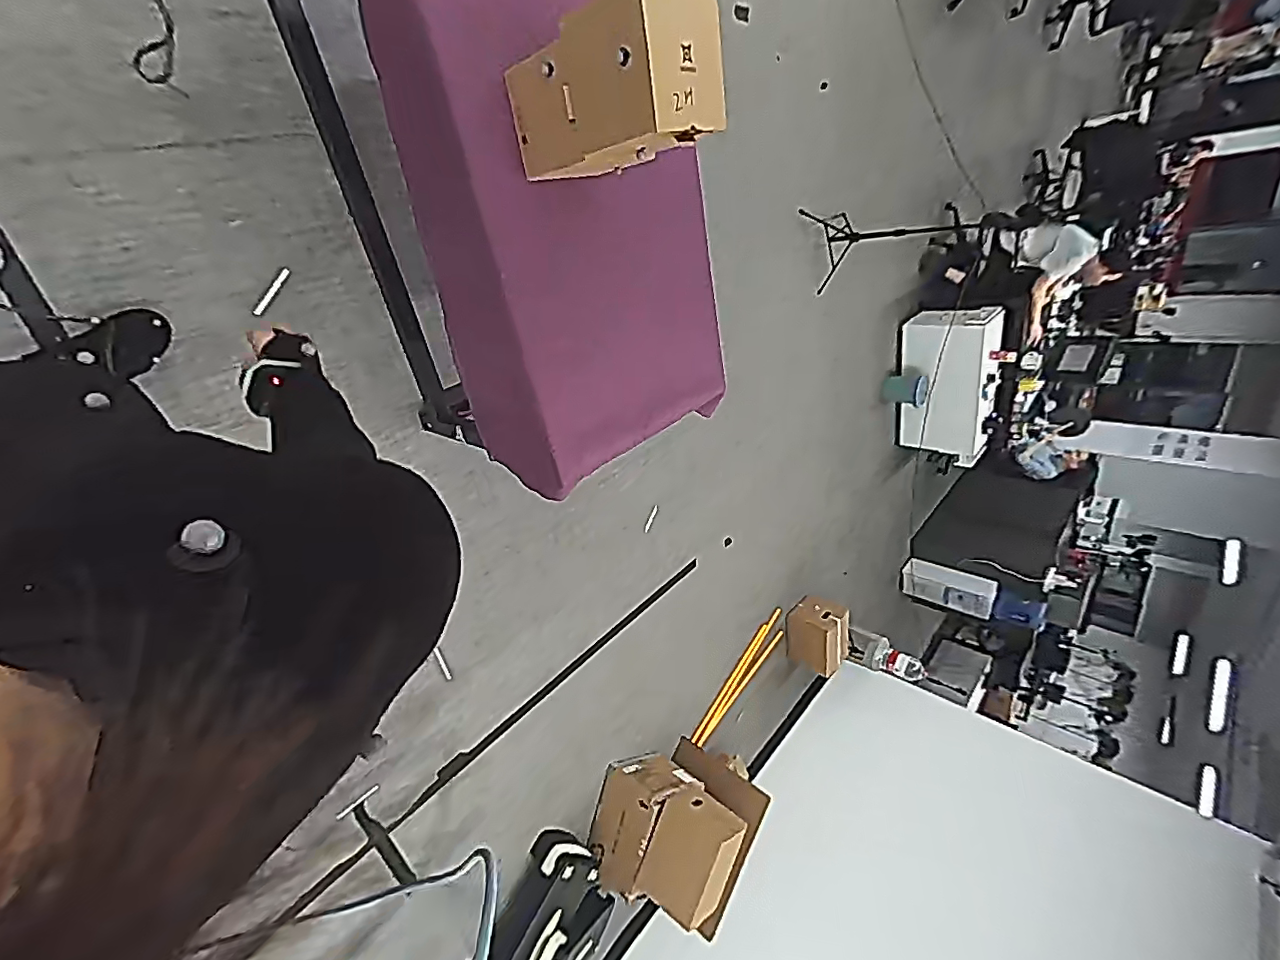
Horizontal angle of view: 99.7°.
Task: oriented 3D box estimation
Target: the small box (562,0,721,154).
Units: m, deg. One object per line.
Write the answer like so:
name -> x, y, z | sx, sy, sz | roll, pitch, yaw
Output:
small box -> 0.002, -0.614, 0.821 | 0.168, 0.176, 0.179 | -30, 122, -37
